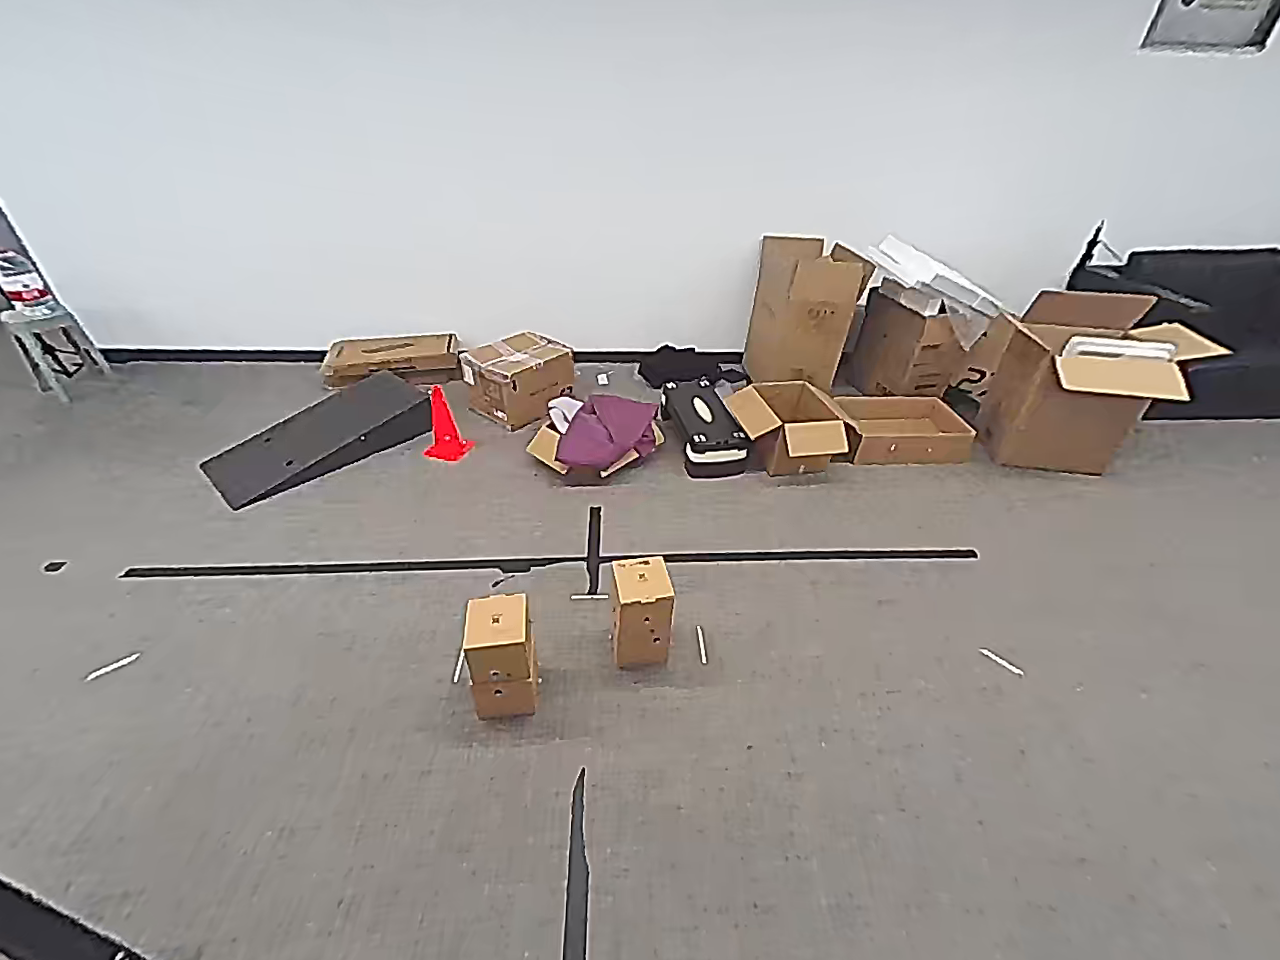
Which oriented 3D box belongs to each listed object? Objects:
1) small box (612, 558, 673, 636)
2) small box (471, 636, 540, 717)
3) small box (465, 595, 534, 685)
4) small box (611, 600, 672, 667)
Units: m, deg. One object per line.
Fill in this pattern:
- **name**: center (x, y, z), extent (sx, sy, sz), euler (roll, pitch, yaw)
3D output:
- **small box**: center (0.004, 0.369, 1.689), extent (0.168, 0.176, 0.179), euler (-5, 37, -10)
- **small box**: center (-0.400, 0.595, 1.633), extent (0.179, 0.176, 0.168), euler (-2, 36, -6)
- **small box**: center (-0.397, 0.457, 1.547), extent (0.168, 0.176, 0.179), euler (-6, 38, -8)
- **small box**: center (0.001, 0.497, 1.792), extent (0.179, 0.176, 0.168), euler (-4, 36, -9)
